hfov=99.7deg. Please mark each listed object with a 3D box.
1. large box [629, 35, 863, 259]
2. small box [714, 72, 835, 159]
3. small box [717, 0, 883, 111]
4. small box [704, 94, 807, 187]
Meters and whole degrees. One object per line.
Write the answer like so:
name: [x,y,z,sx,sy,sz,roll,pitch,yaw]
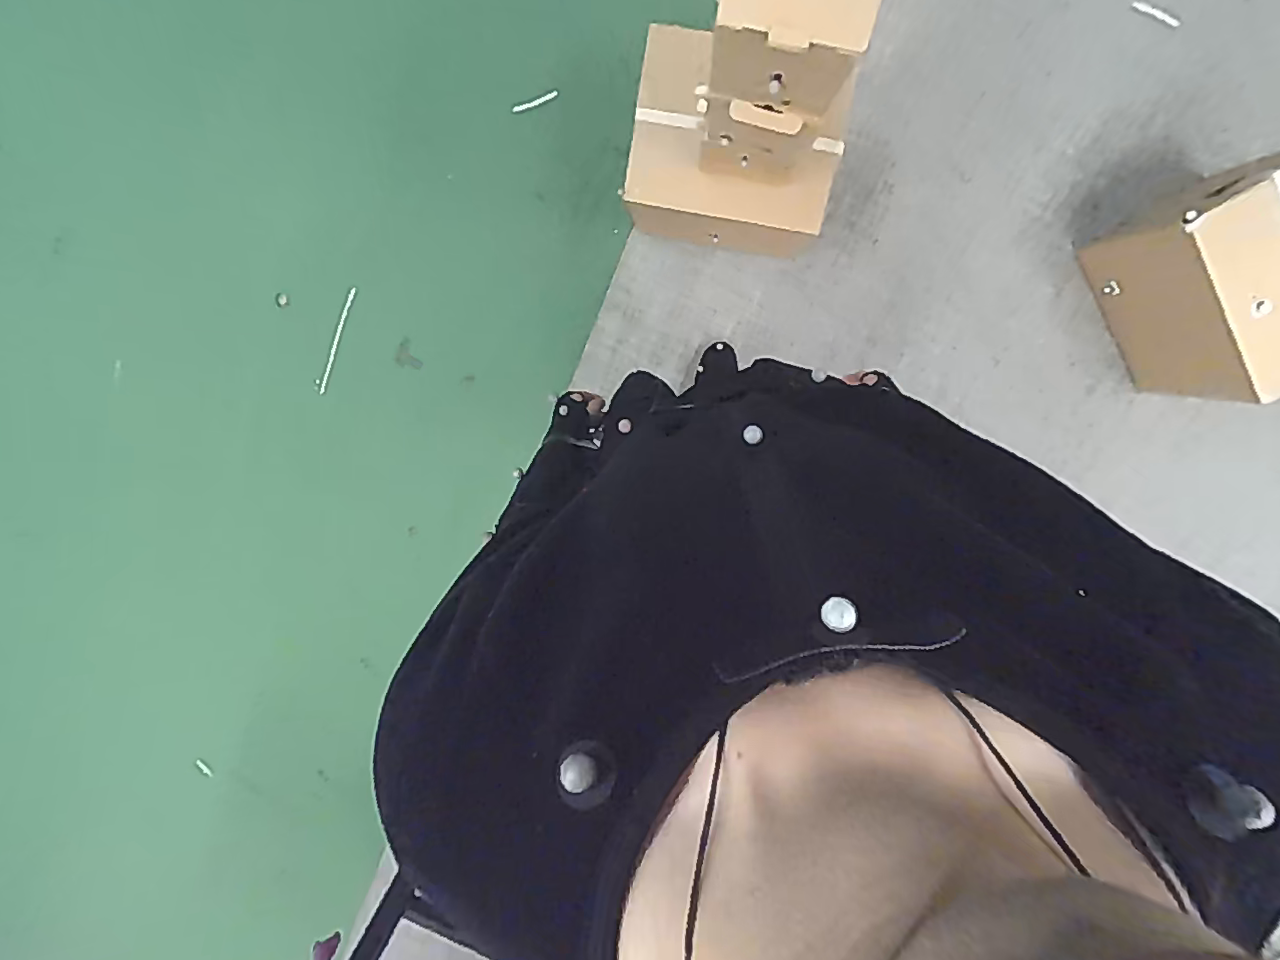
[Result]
large box: [0.214,-0.697,1.188,0.408,0.320,0.320,12,103,4]
small box: [0.211,-0.602,0.789,0.168,0.176,0.179,16,105,2]
small box: [0.192,-0.568,0.629,0.168,0.176,0.179,15,106,2]
small box: [0.217,-0.638,0.949,0.179,0.176,0.168,15,105,2]
